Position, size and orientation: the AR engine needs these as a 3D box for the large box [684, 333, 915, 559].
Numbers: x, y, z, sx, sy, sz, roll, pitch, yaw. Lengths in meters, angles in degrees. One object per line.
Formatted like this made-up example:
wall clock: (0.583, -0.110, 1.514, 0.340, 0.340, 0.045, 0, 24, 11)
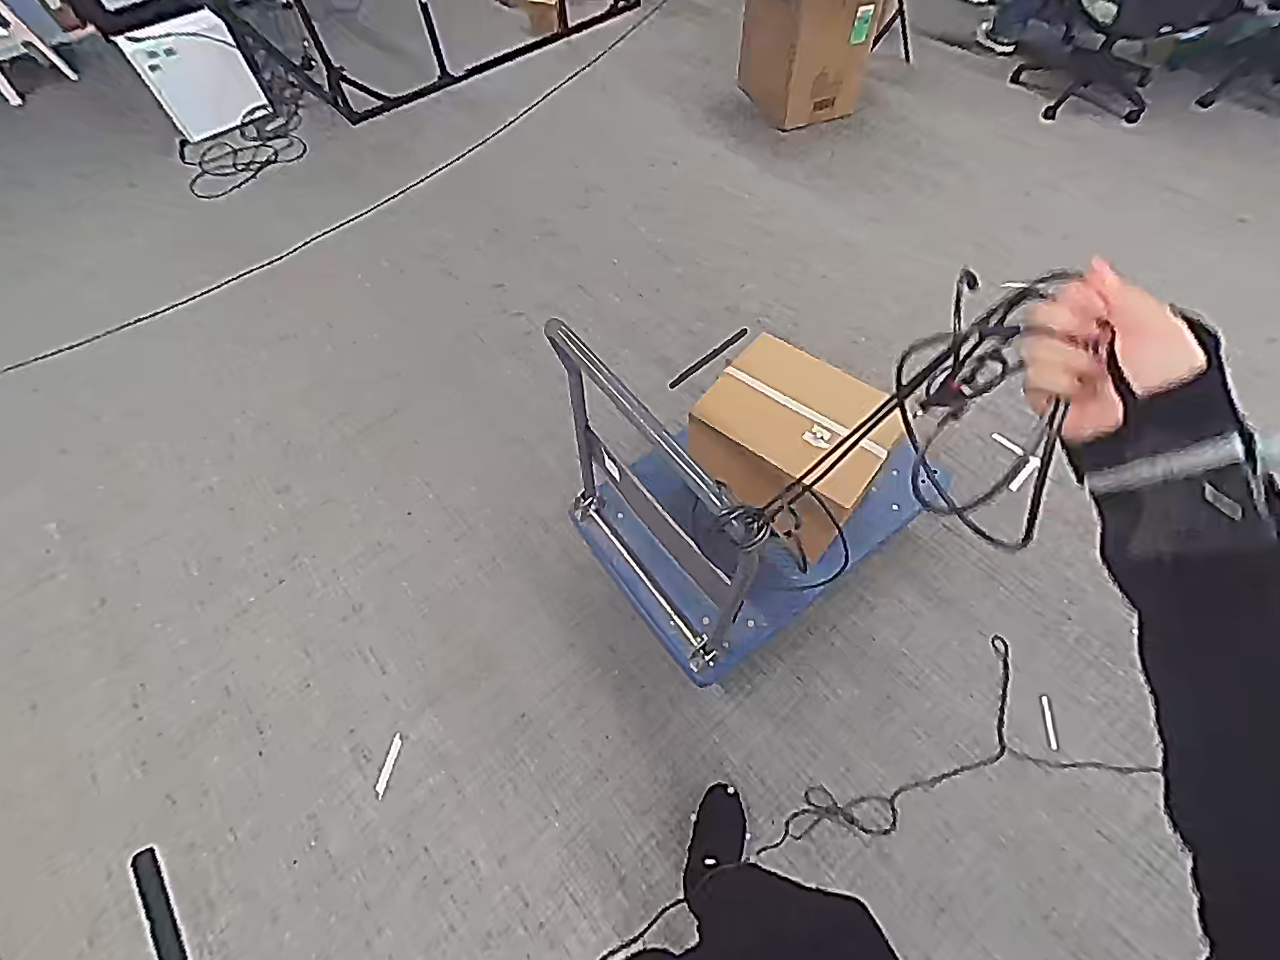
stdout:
large box: (0.358, -0.078, 1.320, 0.408, 0.320, 0.320, 34, 68, 19)
